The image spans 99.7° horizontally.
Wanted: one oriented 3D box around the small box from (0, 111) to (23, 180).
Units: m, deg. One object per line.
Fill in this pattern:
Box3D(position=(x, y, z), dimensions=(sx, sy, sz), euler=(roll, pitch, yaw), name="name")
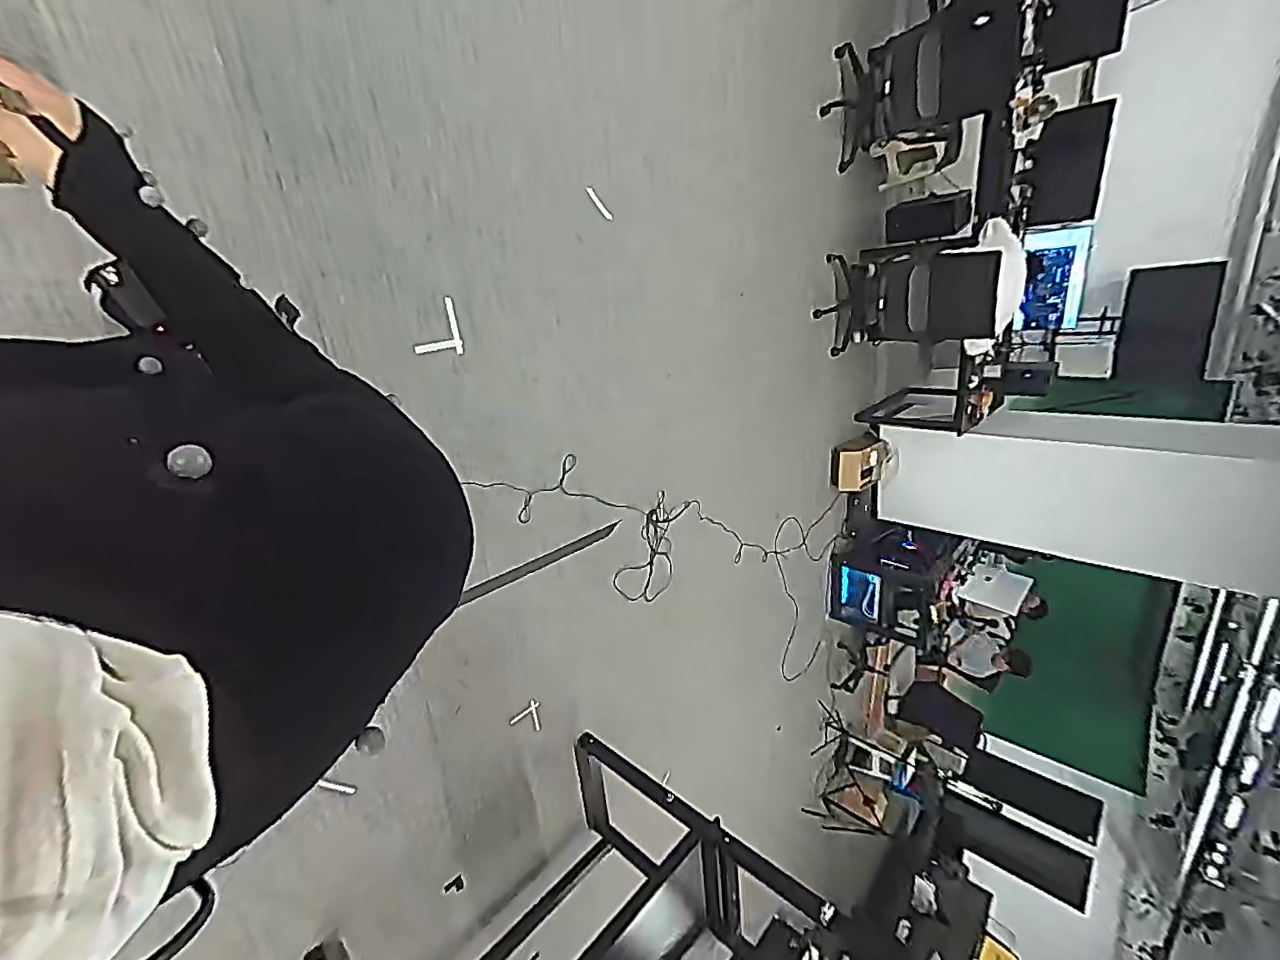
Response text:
Box3D(position=(-0.640, -0.346, 0.412), dimensions=(0.168, 0.176, 0.179), euler=(-23, 115, -34), name="small box")
